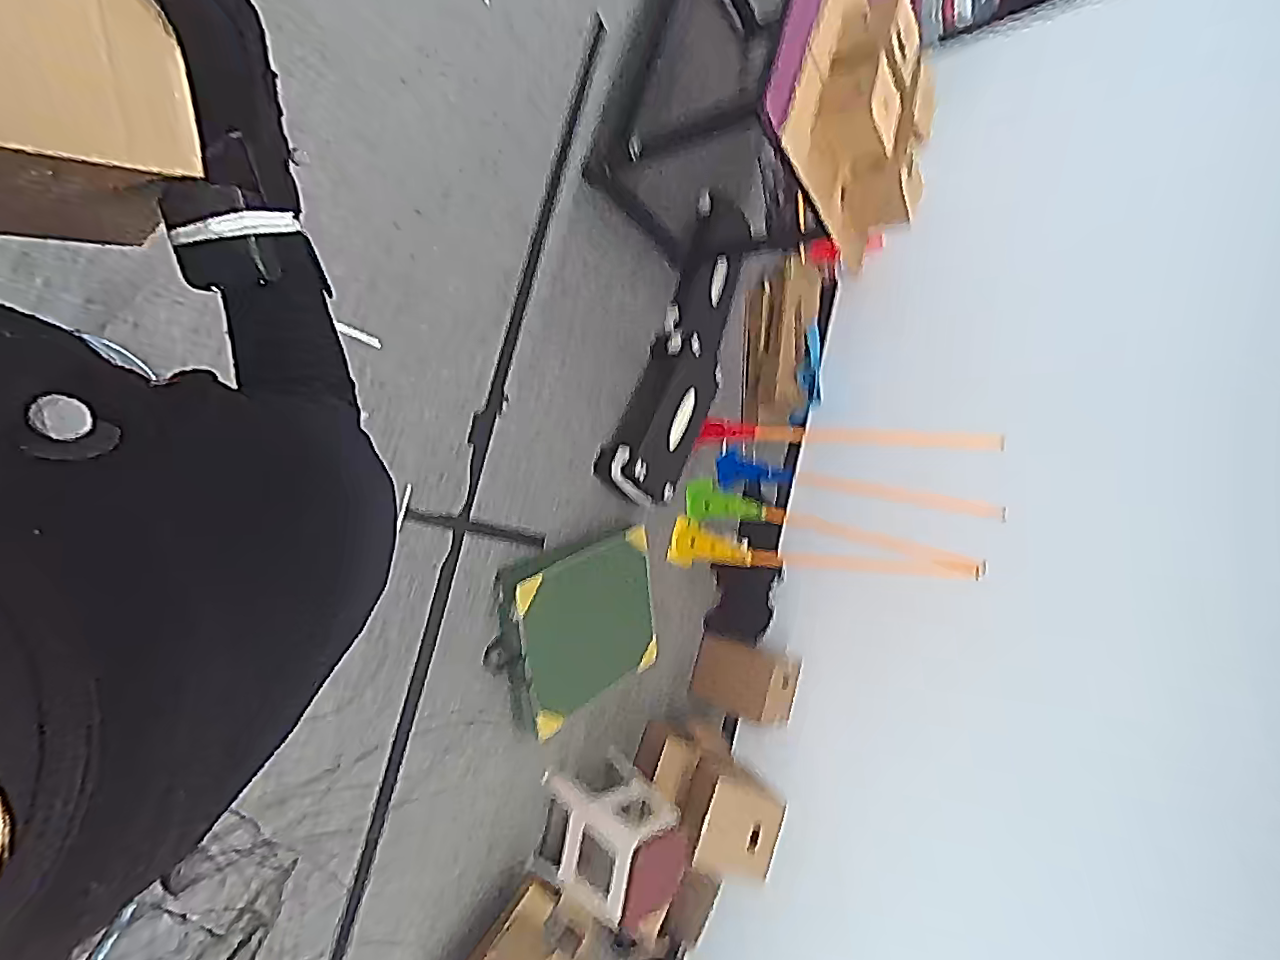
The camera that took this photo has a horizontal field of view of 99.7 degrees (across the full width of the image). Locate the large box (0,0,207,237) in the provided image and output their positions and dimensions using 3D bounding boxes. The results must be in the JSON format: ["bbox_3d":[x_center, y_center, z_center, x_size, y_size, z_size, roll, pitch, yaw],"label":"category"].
[{"bbox_3d":[-0.540,-0.339,0.287,0.408,0.320,0.320,-15,110,-47],"label":"large box"}]
